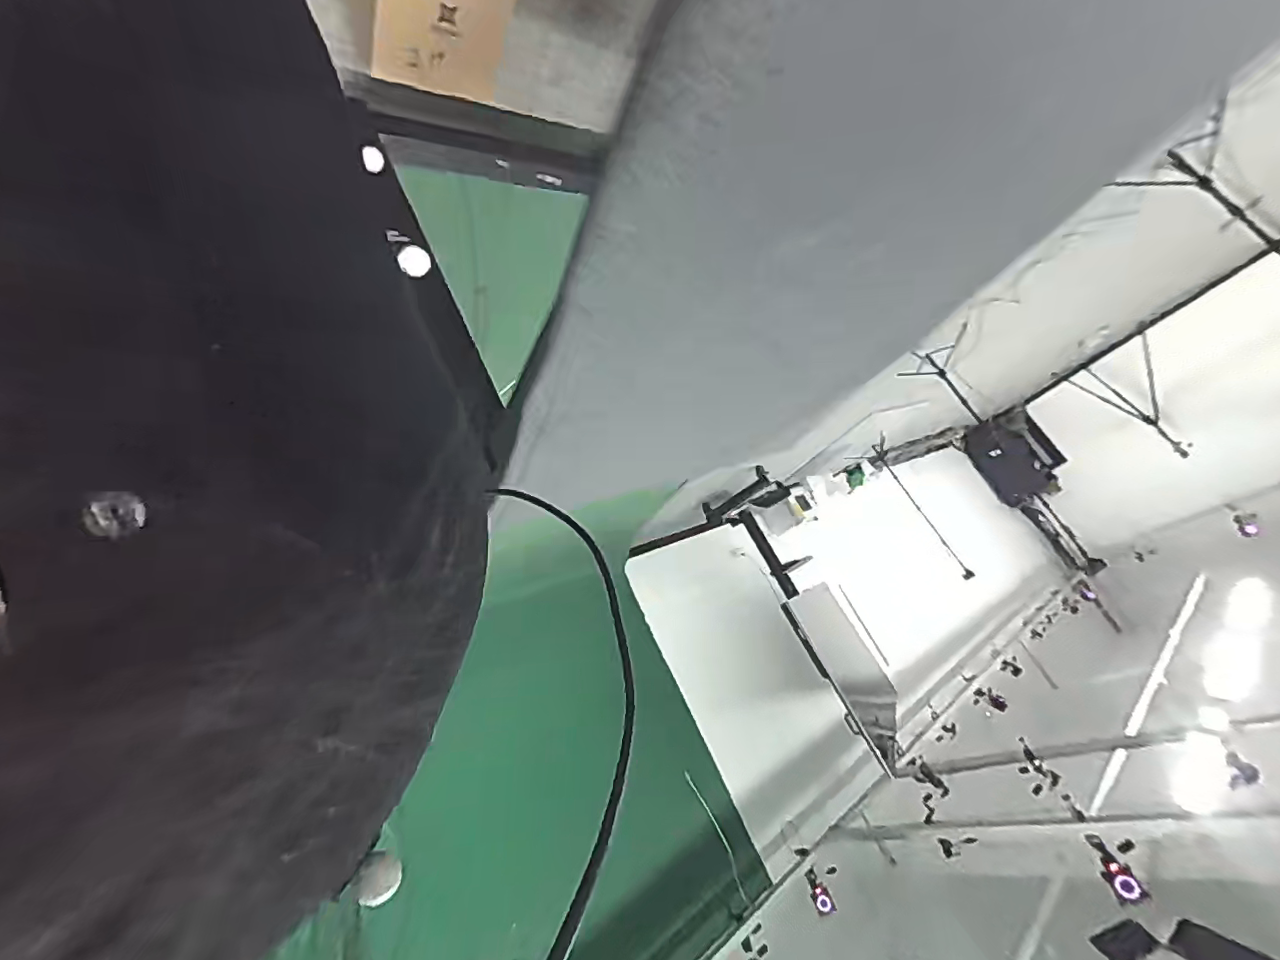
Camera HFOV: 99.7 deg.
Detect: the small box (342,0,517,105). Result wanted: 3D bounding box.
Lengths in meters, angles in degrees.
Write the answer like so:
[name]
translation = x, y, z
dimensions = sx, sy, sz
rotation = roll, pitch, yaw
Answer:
[small box]
translation = -0.278, -0.640, 0.699
dimensions = 0.168, 0.176, 0.179
rotation = -13, 157, -37
